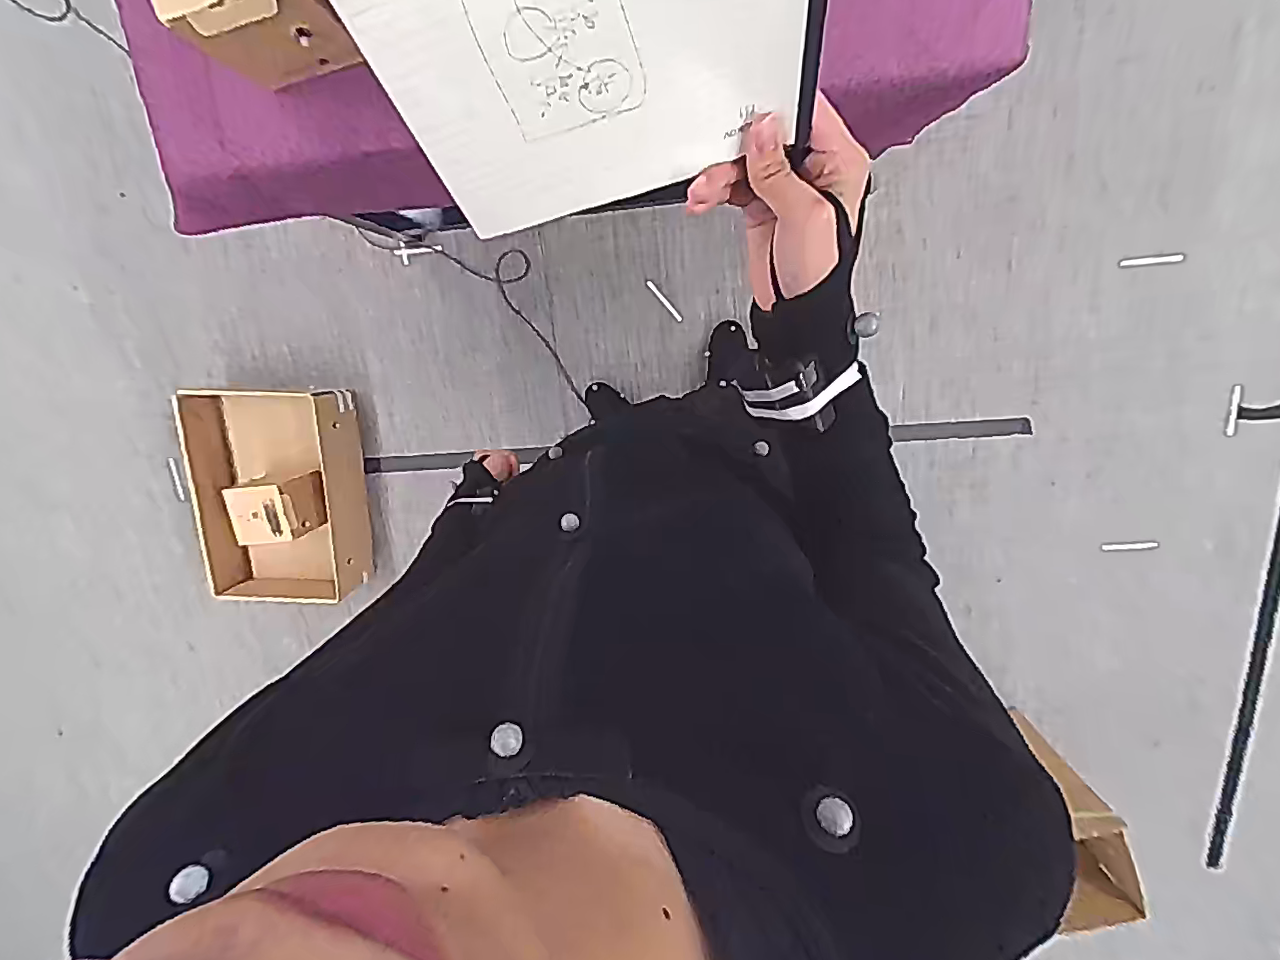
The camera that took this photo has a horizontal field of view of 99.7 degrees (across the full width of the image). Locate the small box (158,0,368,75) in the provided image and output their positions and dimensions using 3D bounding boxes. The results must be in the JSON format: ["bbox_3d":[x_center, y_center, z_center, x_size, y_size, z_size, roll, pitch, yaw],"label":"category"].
[{"bbox_3d":[-0.468,-0.632,0.656,0.168,0.176,0.179,-12,103,6],"label":"small box"}]
